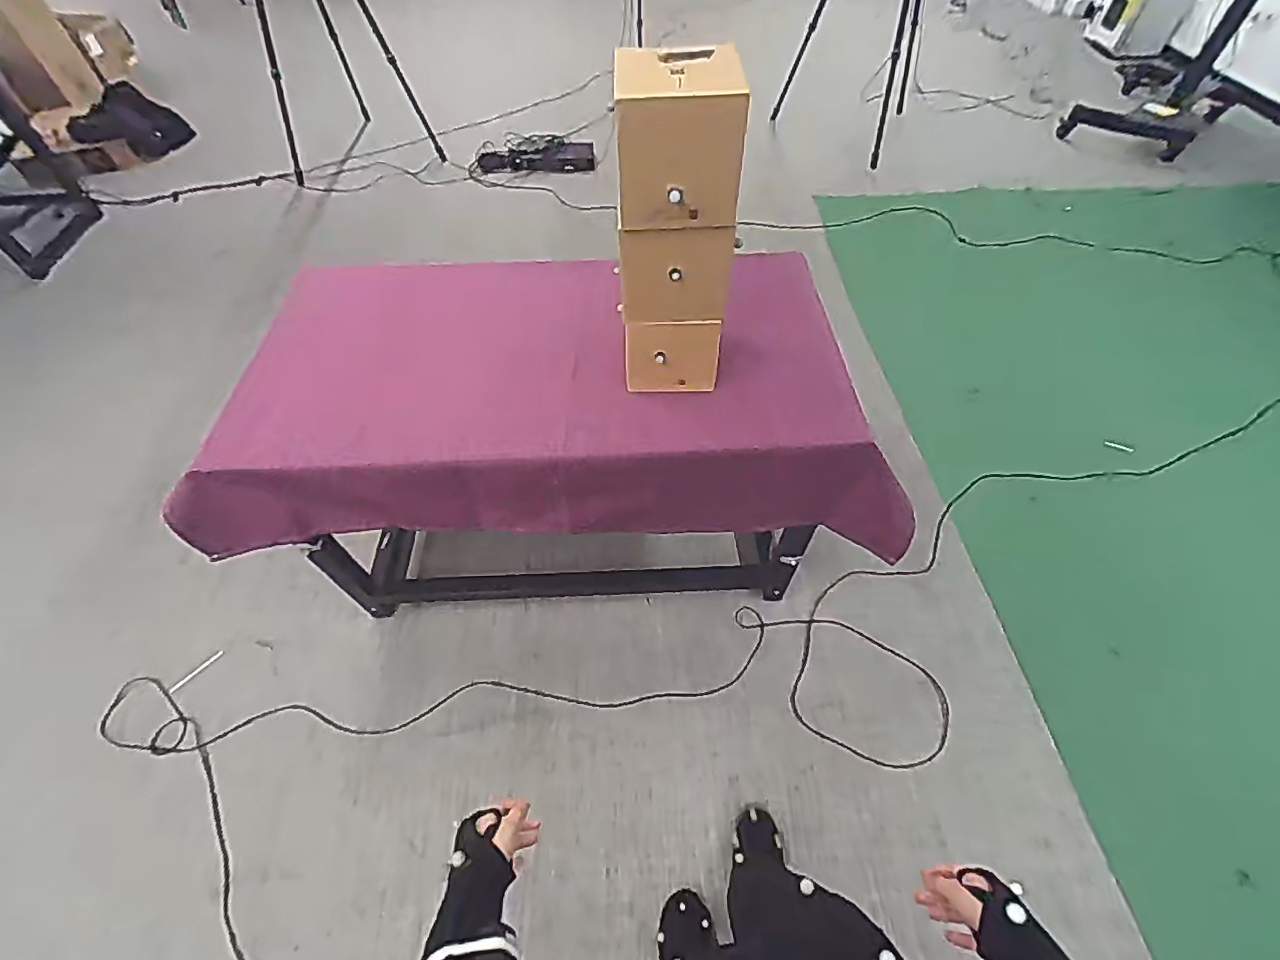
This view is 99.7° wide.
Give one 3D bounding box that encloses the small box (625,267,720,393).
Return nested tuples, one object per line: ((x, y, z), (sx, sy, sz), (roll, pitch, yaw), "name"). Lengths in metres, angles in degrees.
((0.060, -0.281, 1.032), (0.168, 0.176, 0.179), (-1, 53, 1), "small box")

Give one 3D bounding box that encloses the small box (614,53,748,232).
((0.051, -0.474, 0.766), (0.168, 0.176, 0.179), (-2, 54, 1), "small box")
